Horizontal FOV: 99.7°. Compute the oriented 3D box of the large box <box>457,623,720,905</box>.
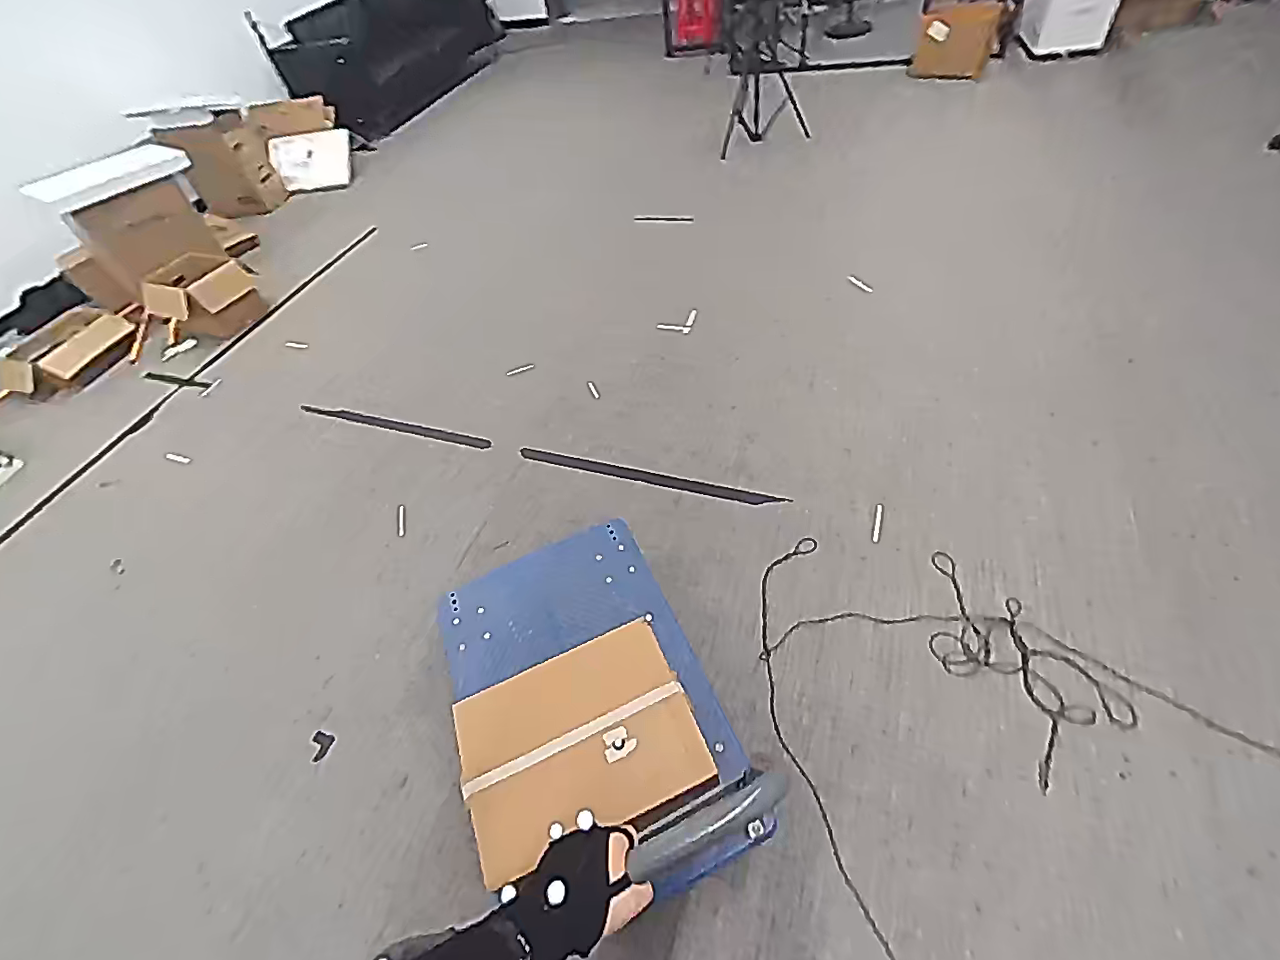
[{"bbox_3d":[-0.089,0.558,1.067,0.408,0.320,0.320,-22,51,-10],"label":"large box"}]
